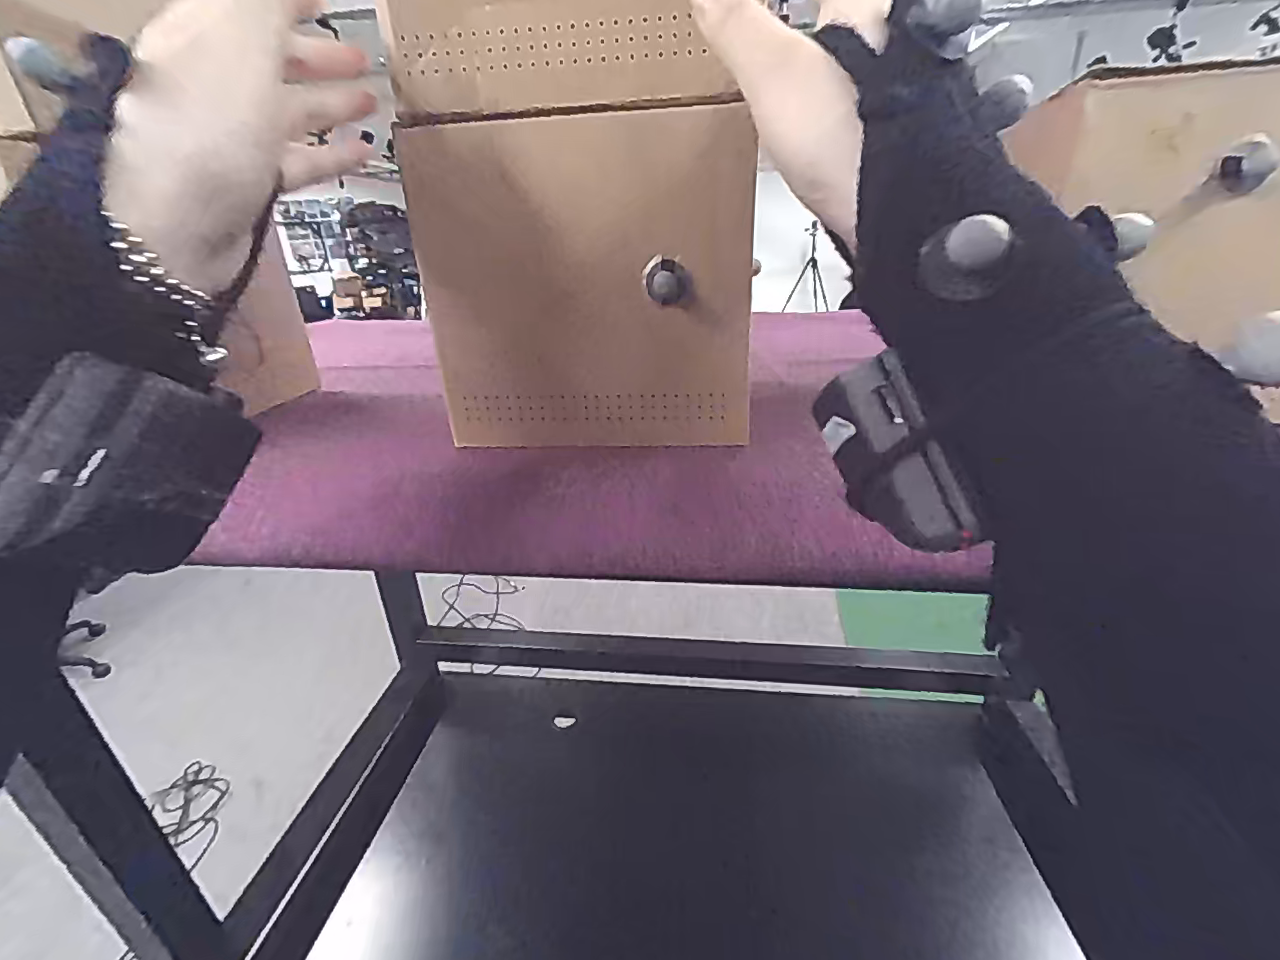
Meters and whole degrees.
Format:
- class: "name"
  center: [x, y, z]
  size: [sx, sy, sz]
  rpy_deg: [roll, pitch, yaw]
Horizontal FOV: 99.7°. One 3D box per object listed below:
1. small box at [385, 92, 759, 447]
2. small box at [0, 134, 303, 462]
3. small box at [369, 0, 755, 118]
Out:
- class: "small box"
  center: [-0.023, -0.126, 0.349]
  size: [0.179, 0.176, 0.168]
  rpy_deg: [-1, 24, 6]
- class: "small box"
  center: [-0.366, -0.118, 0.360]
  size: [0.168, 0.176, 0.179]
  rpy_deg: [1, 26, 4]
- class: "small box"
  center: [-0.033, -0.275, 0.285]
  size: [0.179, 0.176, 0.168]
  rpy_deg: [-1, 24, 4]
